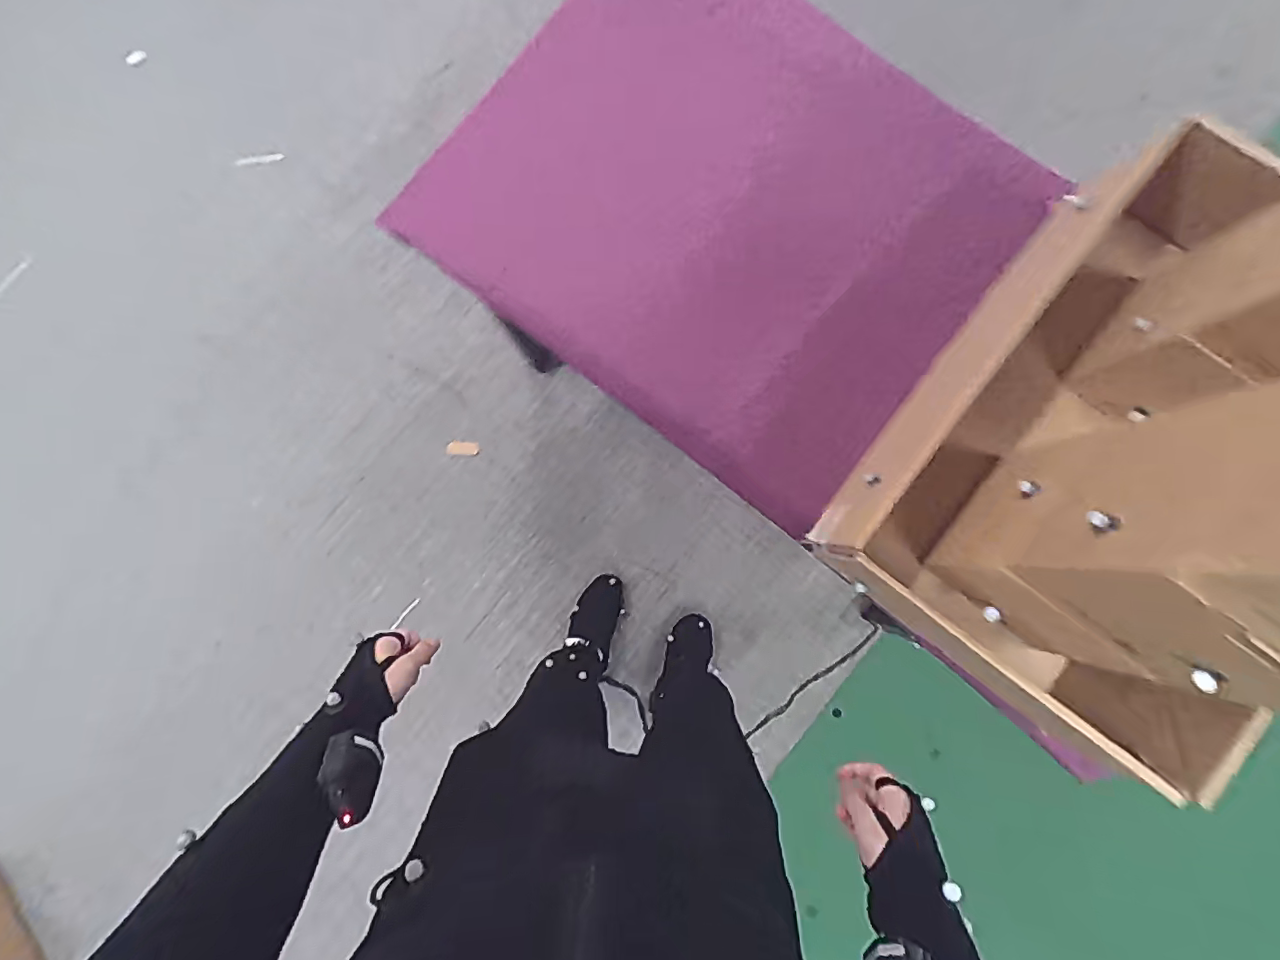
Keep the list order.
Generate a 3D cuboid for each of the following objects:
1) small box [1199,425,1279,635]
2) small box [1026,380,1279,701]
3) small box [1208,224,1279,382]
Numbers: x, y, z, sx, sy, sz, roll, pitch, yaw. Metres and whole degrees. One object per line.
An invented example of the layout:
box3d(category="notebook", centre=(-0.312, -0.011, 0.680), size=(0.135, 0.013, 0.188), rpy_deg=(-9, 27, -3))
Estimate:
box3d(category="small box", centre=(0.450, 0.032, 0.262), size=(0.168, 0.176, 0.179), rpy_deg=(39, 85, 6))
box3d(category="small box", centre=(0.455, 0.055, 0.422), size=(0.168, 0.176, 0.179), rpy_deg=(40, 85, 6))
box3d(category="small box", centre=(0.642, -0.163, 0.438), size=(0.168, 0.176, 0.179), rpy_deg=(41, 88, 6))
